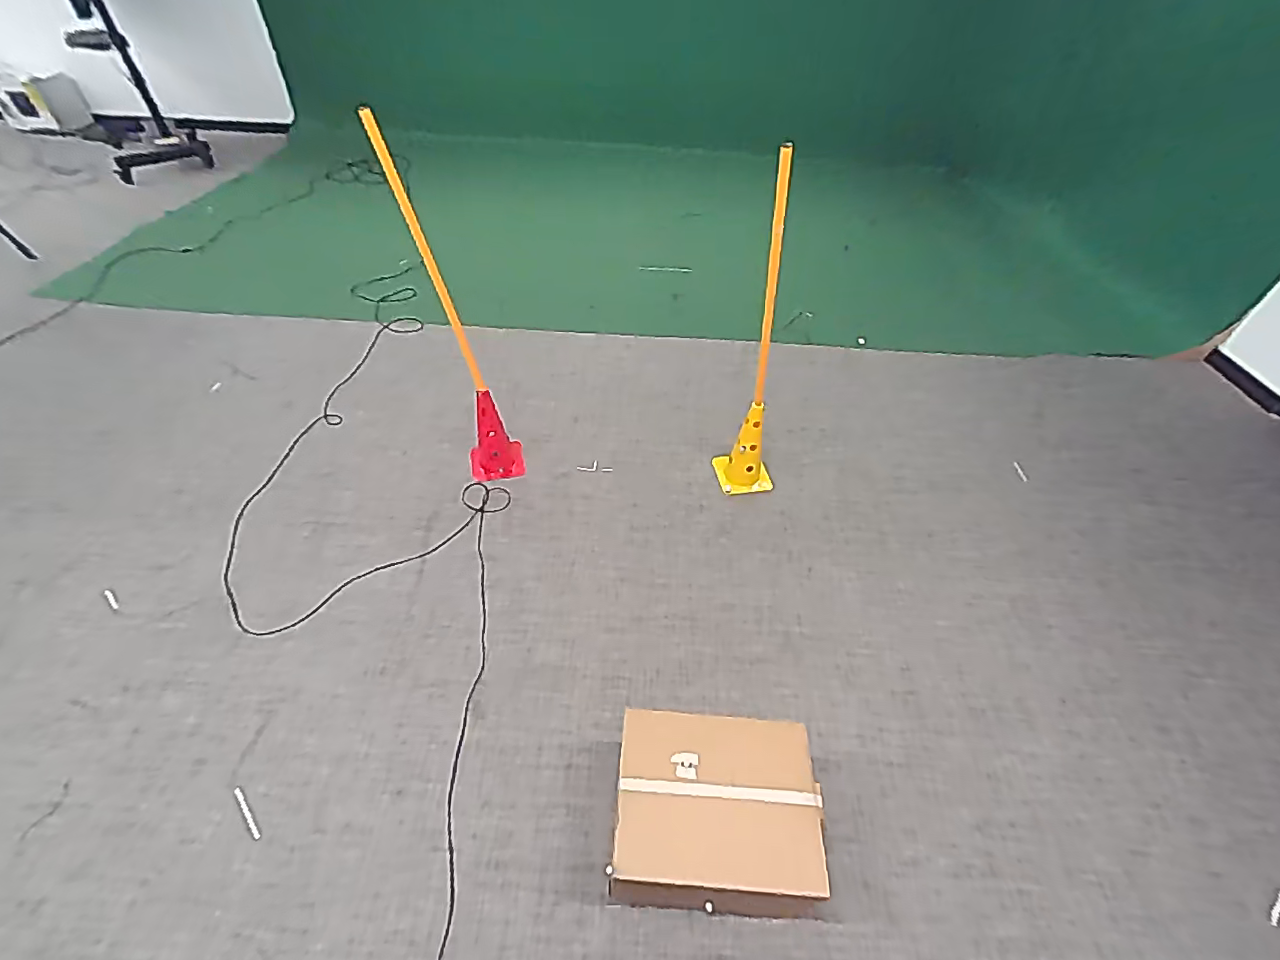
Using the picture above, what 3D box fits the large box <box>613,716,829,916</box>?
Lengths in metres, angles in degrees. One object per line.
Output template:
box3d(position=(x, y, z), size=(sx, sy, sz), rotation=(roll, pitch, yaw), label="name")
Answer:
box3d(position=(0.155, 0.749, 1.199), size=(0.408, 0.320, 0.320), rotation=(4, 45, 2), label="large box")
